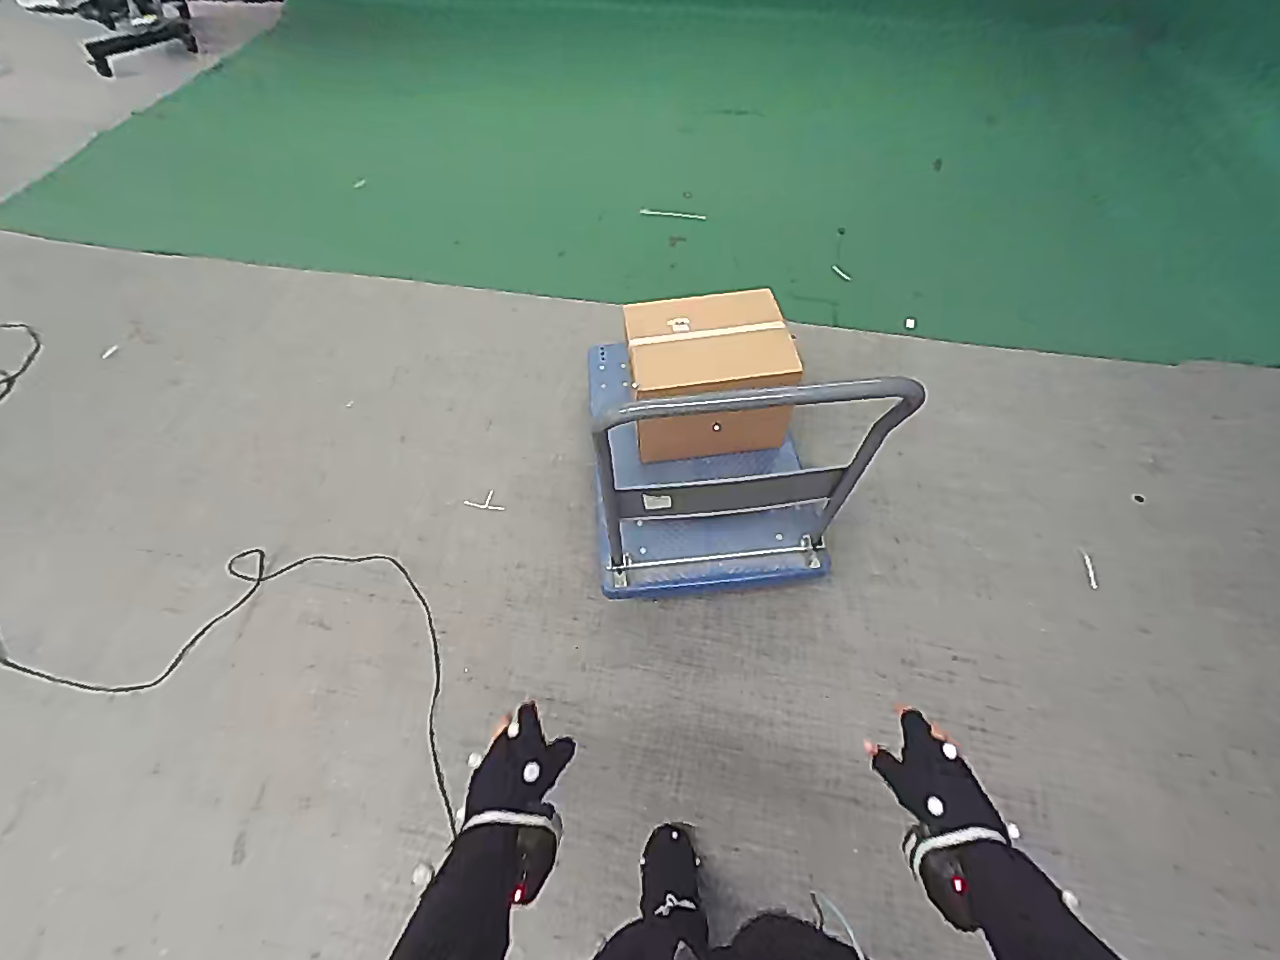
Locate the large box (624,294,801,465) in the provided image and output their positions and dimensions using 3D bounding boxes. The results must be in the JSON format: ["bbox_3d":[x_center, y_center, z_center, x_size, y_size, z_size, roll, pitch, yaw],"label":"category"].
[{"bbox_3d":[0.181,-0.272,1.501,0.408,0.320,0.320,-8,56,-2],"label":"large box"}]
